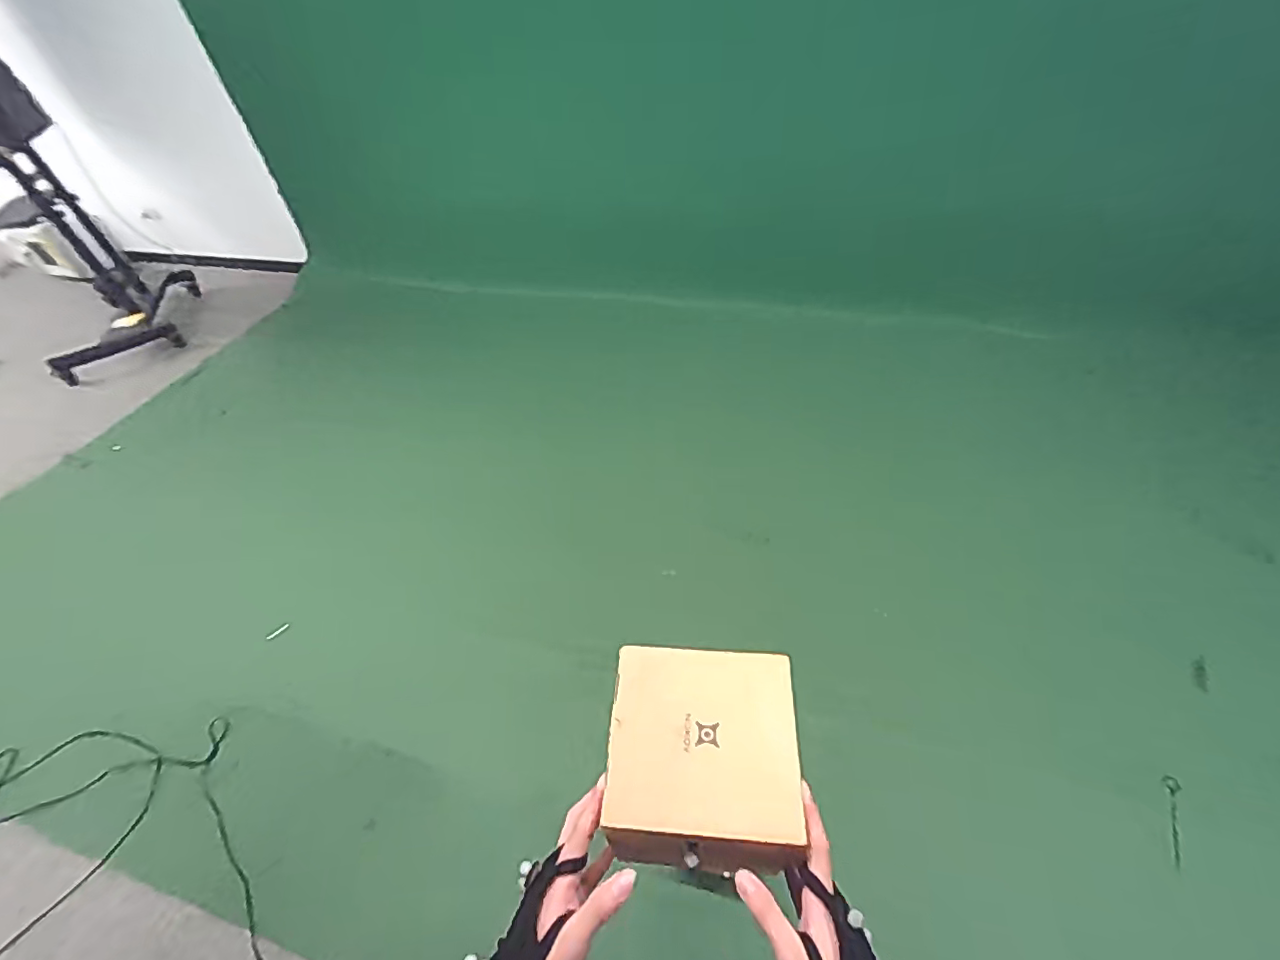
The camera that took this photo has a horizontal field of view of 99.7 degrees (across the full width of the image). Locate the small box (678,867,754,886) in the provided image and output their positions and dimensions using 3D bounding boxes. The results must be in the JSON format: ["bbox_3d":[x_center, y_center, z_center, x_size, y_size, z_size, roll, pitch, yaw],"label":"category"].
[{"bbox_3d":[0.188,0.861,1.310,0.179,0.176,0.168,6,48,12],"label":"small box"}]

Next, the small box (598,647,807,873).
[{"bbox_3d":[0.064,0.292,0.561,0.179,0.176,0.168,1,47,7],"label":"small box"}]
